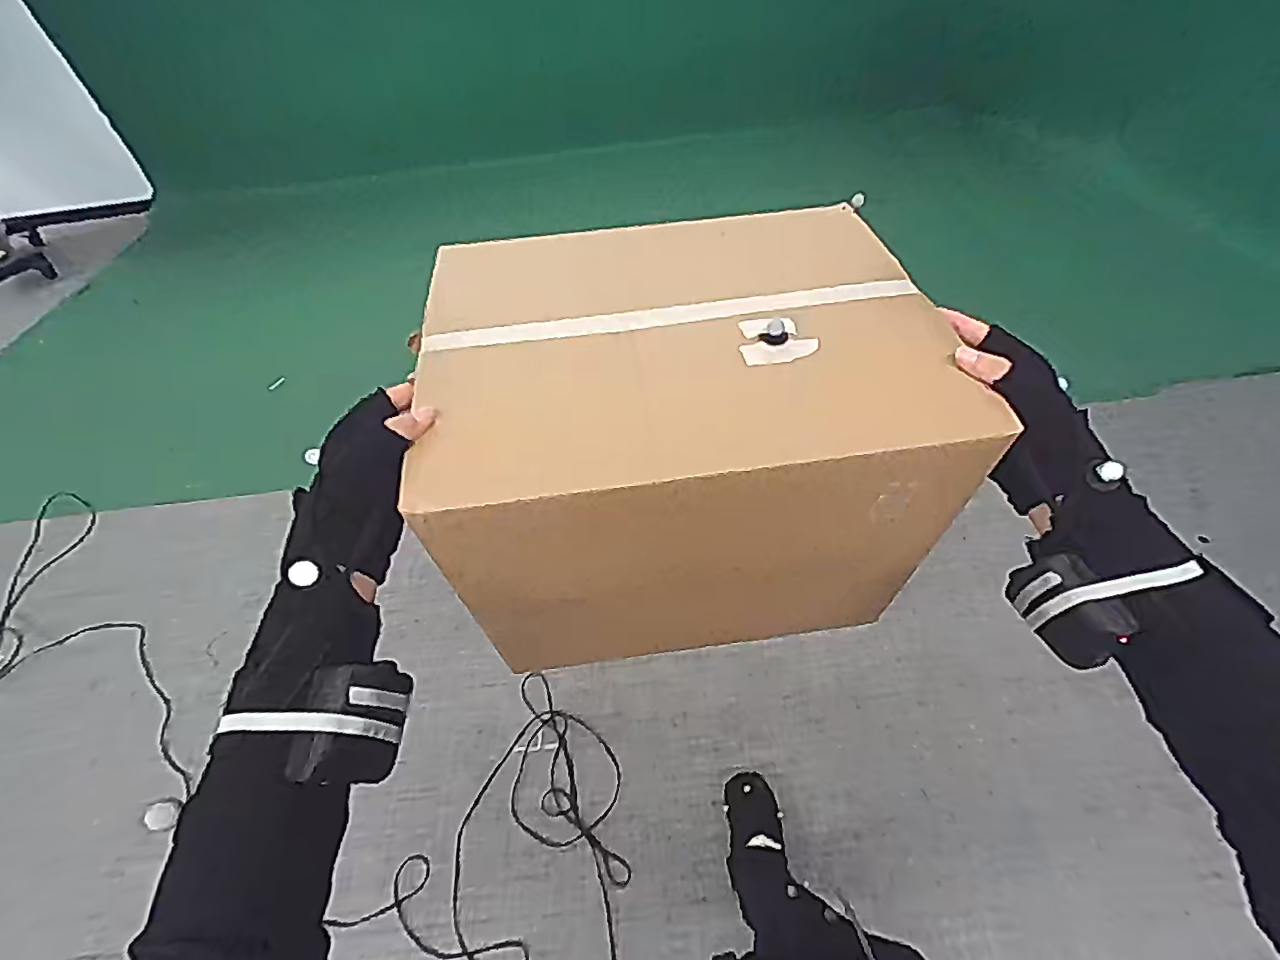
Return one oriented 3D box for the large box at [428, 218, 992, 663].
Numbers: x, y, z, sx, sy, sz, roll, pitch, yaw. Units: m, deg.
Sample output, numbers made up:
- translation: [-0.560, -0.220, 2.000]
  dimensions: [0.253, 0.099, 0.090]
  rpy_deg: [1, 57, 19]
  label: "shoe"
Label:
- translation: [0.035, -0.035, 0.571]
  dimensions: [0.408, 0.320, 0.320]
  rpy_deg: [-8, 53, -4]
  label: "large box"
